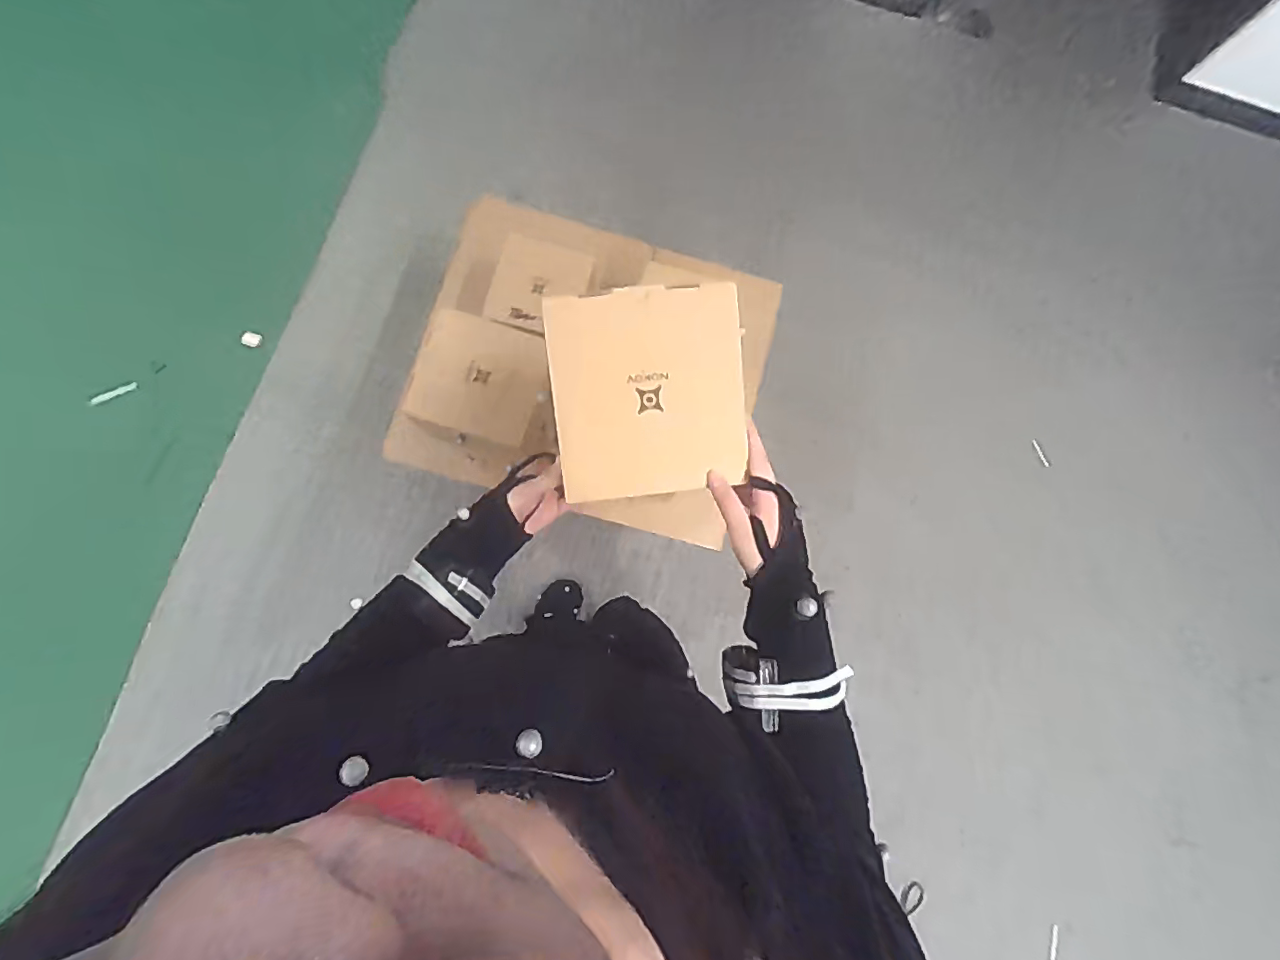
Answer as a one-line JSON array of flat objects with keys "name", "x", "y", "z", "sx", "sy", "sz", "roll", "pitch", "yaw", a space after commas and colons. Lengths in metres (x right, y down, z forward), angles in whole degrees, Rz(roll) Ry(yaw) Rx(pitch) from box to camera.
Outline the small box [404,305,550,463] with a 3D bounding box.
[{"name": "small box", "x": -0.226, "y": -0.136, "z": 0.838, "sx": 0.179, "sy": 0.176, "sz": 0.168, "roll": 18, "pitch": 80, "yaw": -2}]

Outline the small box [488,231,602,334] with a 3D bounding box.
[{"name": "small box", "x": -0.175, "y": -0.335, "z": 1.042, "sx": 0.168, "sy": 0.176, "sz": 0.179, "roll": 15, "pitch": 78, "yaw": 0}]

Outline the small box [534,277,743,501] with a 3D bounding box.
[{"name": "small box", "x": -0.002, "y": -0.087, "z": 0.536, "sx": 0.168, "sy": 0.176, "sz": 0.179, "roll": -7, "pitch": 98, "yaw": -3}]
